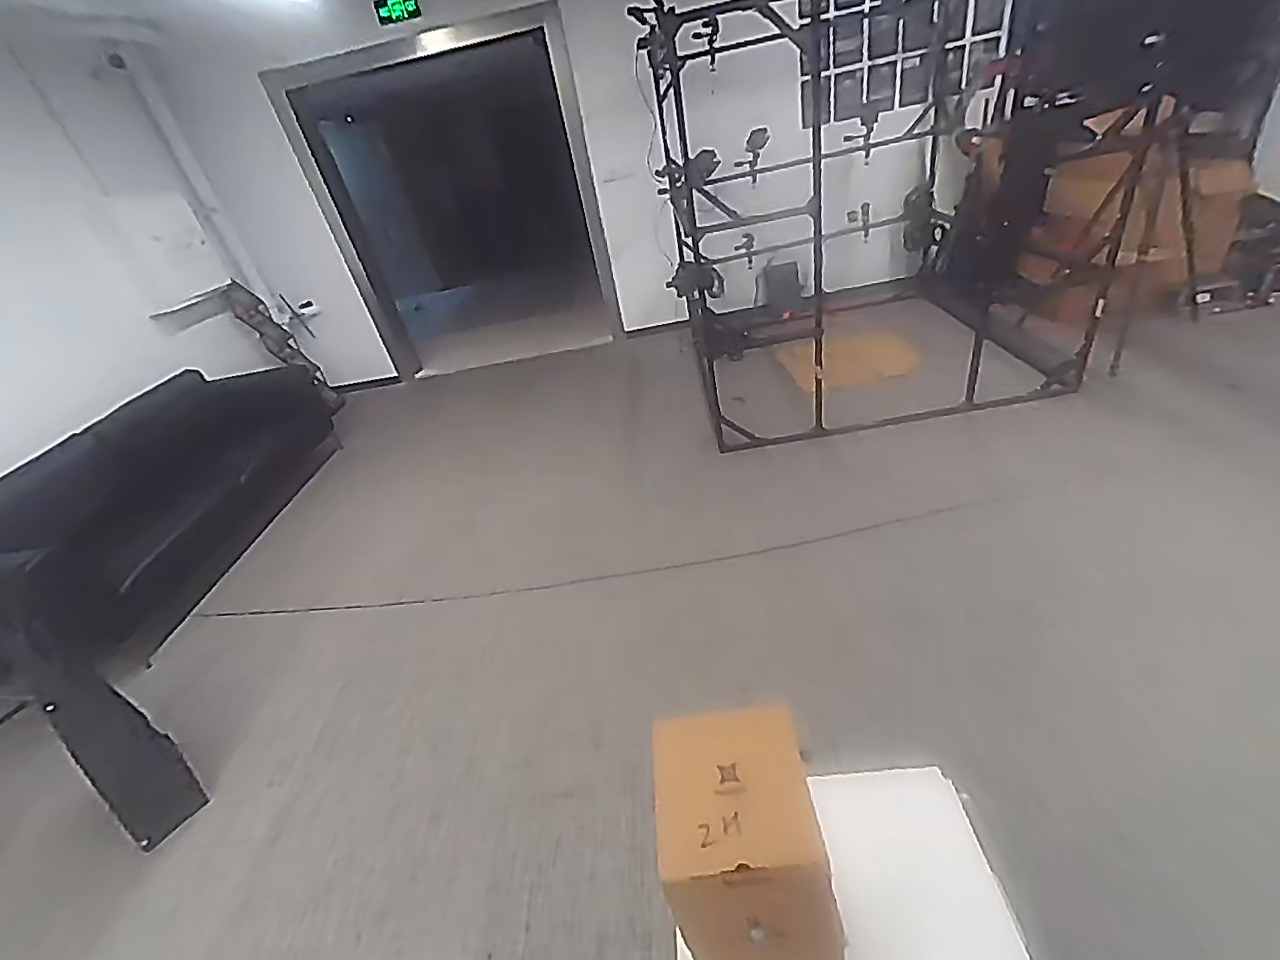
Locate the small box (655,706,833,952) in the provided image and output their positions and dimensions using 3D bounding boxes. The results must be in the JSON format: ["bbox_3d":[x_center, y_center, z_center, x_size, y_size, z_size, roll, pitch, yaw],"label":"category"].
[{"bbox_3d":[0.113,0.396,0.623,0.168,0.176,0.179,-12,31,6],"label":"small box"}]

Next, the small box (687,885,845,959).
[{"bbox_3d":[0.153,0.535,0.703,0.179,0.176,0.168,-12,31,5],"label":"small box"}]
